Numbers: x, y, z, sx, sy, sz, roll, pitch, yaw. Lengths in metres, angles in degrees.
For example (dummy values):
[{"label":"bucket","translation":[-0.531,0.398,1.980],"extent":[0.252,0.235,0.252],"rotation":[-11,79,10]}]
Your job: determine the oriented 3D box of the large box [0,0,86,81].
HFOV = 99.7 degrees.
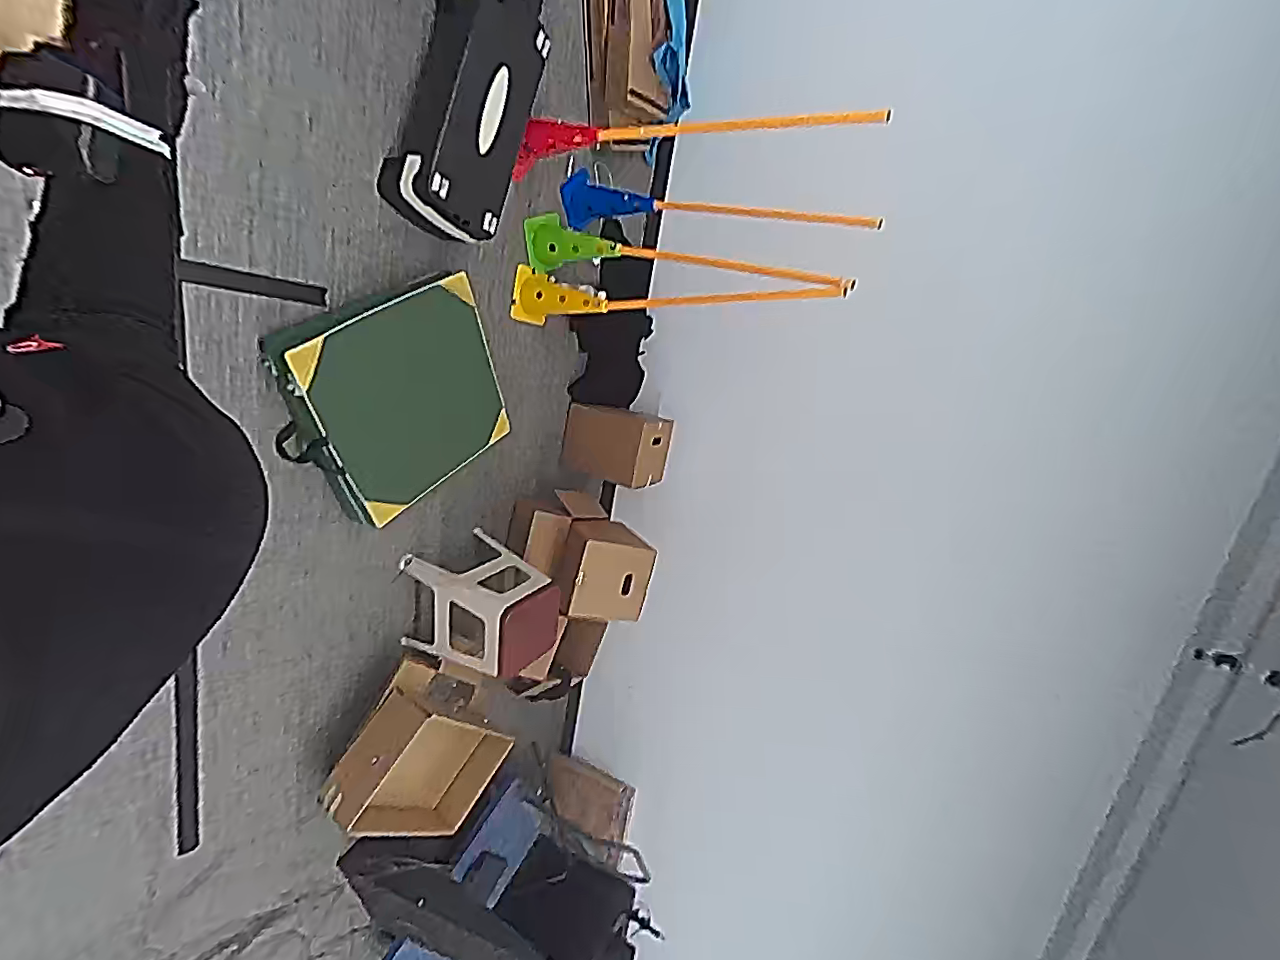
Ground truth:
[{"label":"large box","translation":[-0.571,-0.449,0.231],"extent":[0.408,0.320,0.320],"rotation":[-12,125,-58]}]
